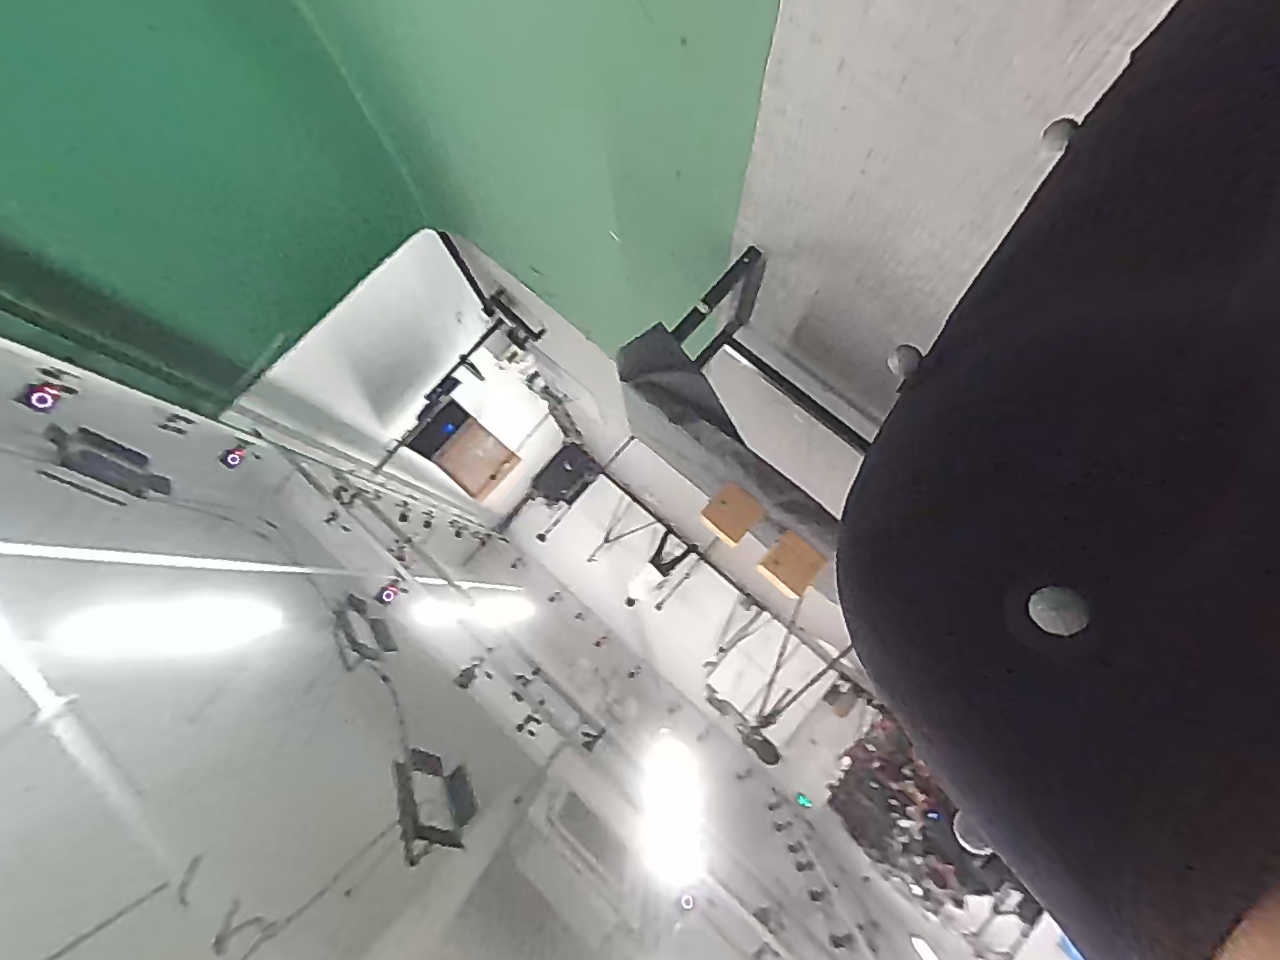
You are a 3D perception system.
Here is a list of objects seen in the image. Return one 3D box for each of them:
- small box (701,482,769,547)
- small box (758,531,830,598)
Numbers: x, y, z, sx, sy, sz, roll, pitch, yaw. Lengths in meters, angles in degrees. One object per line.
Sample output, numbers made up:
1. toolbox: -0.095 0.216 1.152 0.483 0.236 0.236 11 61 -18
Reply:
1. small box: 0.348 0.124 2.000 0.179 0.176 0.168 40 174 11
2. small box: 0.556 0.306 1.953 0.179 0.176 0.168 42 173 12
